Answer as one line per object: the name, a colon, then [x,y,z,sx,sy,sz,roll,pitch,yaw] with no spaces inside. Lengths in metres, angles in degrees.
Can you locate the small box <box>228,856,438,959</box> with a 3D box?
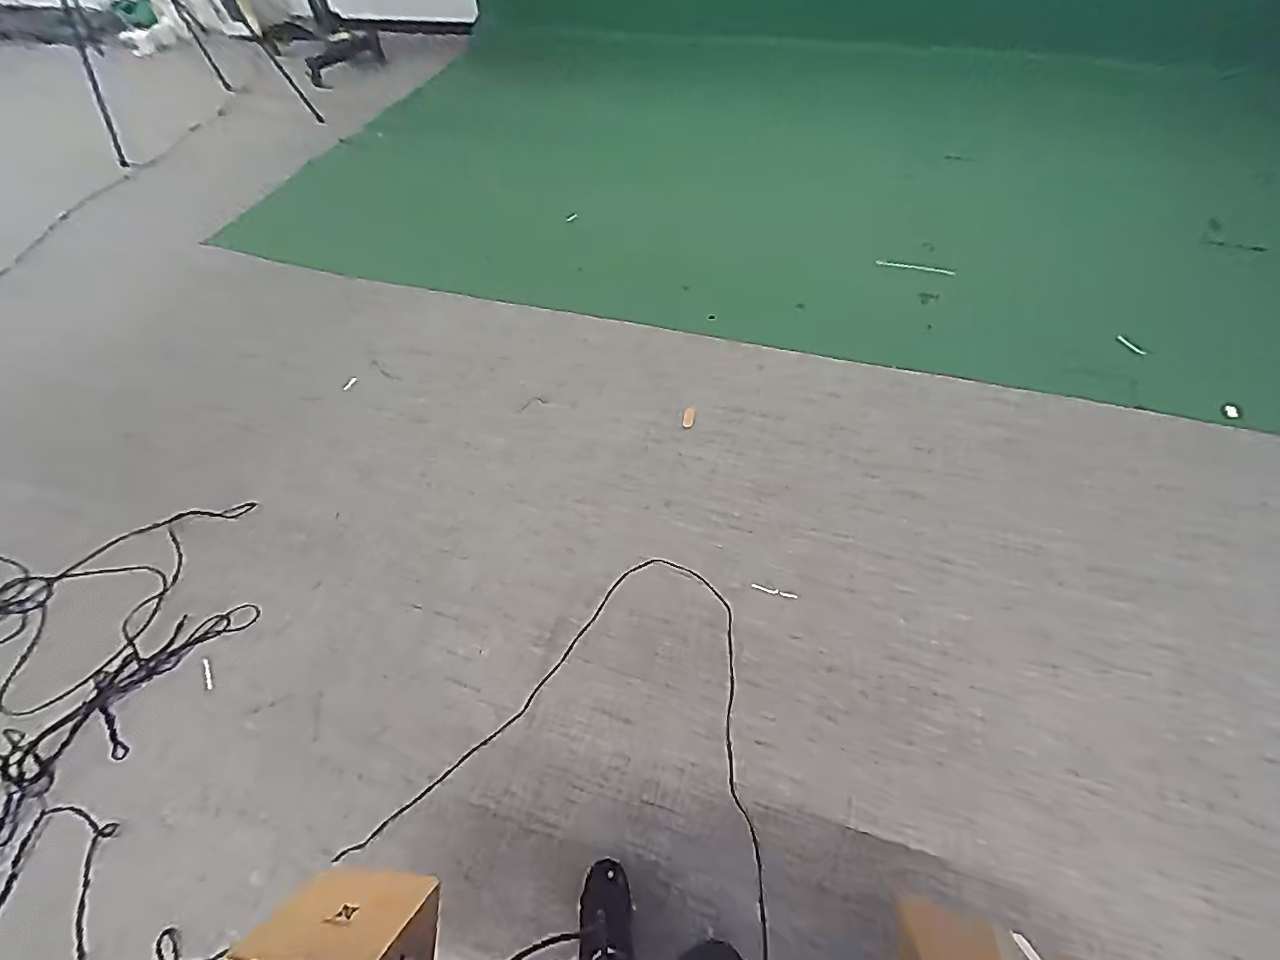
small box: [-0.374,0.611,0.661,0.168,0.179,0.176,3,87,8]
